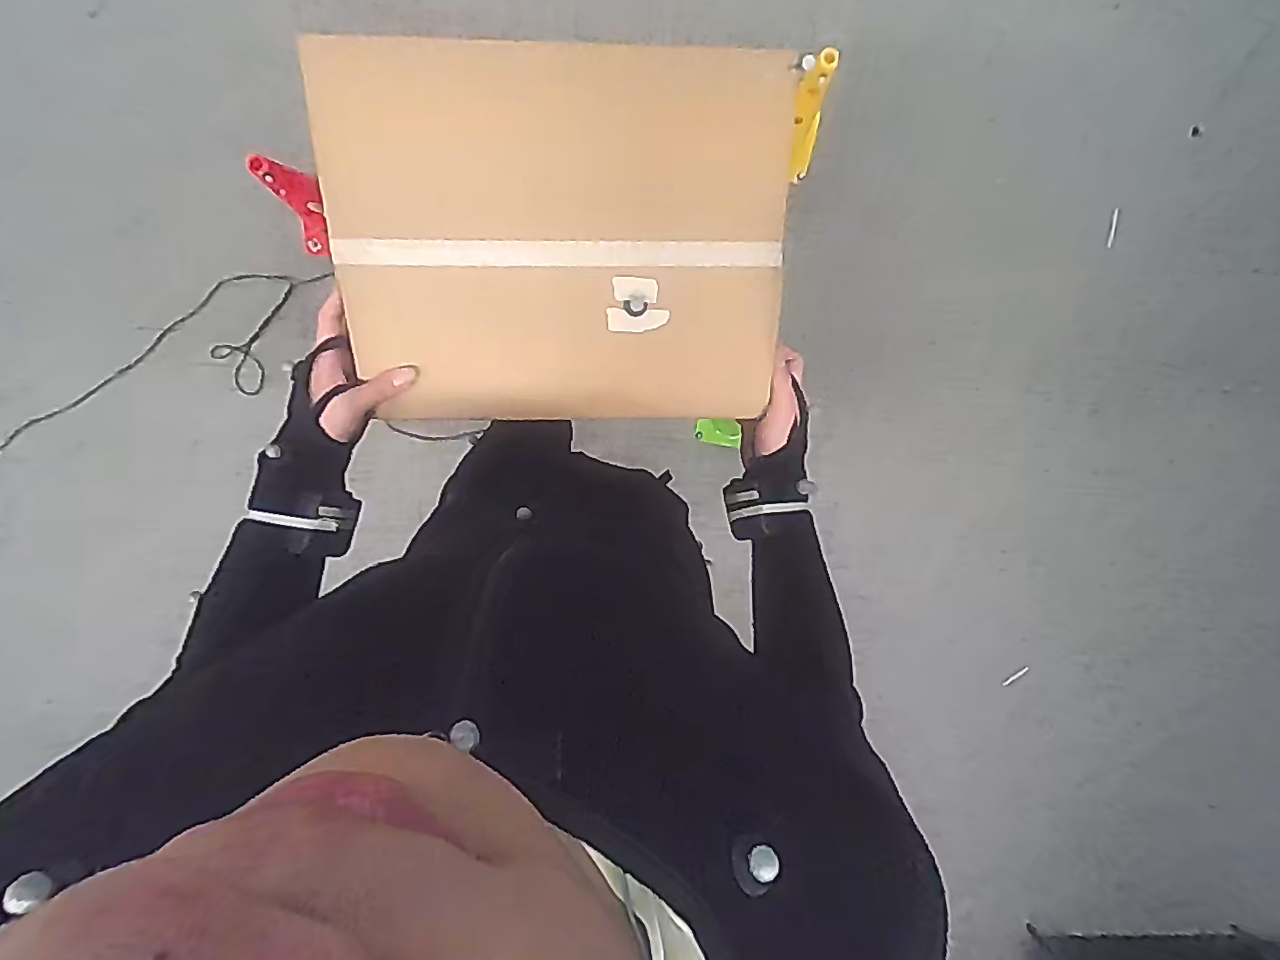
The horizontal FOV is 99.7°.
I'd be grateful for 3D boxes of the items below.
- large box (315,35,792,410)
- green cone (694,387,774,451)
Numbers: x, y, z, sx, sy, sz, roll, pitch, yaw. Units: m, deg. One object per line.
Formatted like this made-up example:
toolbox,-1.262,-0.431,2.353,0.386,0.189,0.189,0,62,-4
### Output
large box,-0.078,-0.271,0.639,0.408,0.320,0.320,-1,111,-4
green cone,0.280,-0.171,1.423,0.200,0.368,0.202,9,98,-5
